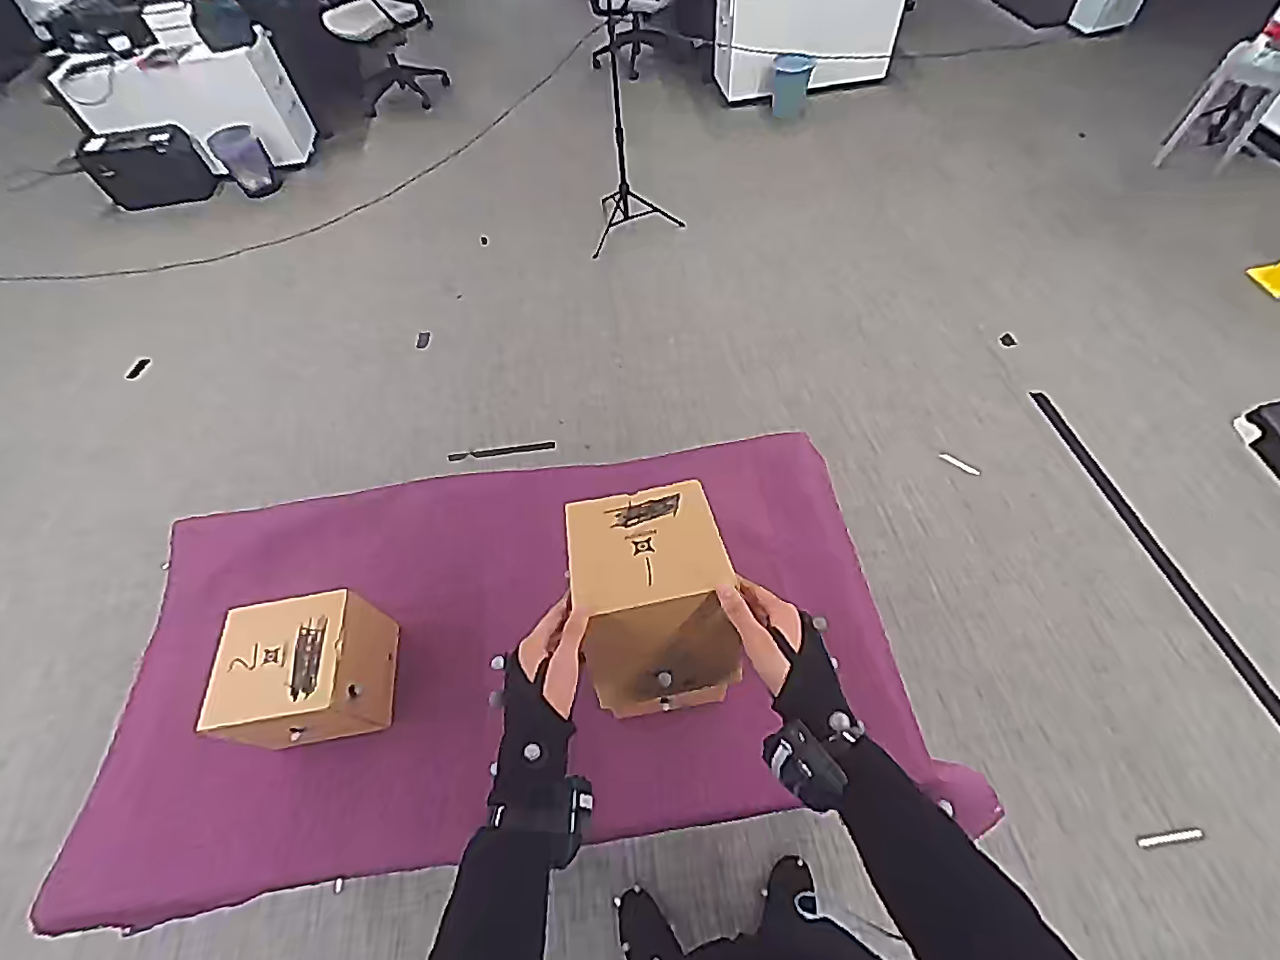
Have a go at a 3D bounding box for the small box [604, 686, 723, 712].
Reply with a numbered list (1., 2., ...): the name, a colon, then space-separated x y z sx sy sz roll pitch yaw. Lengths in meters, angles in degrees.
1. small box: 0.030 0.233 0.798 0.168 0.176 0.179 -9 56 -1

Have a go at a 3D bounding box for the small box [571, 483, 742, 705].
1. small box: 0.016 0.131 0.637 0.168 0.176 0.179 -11 39 -2
